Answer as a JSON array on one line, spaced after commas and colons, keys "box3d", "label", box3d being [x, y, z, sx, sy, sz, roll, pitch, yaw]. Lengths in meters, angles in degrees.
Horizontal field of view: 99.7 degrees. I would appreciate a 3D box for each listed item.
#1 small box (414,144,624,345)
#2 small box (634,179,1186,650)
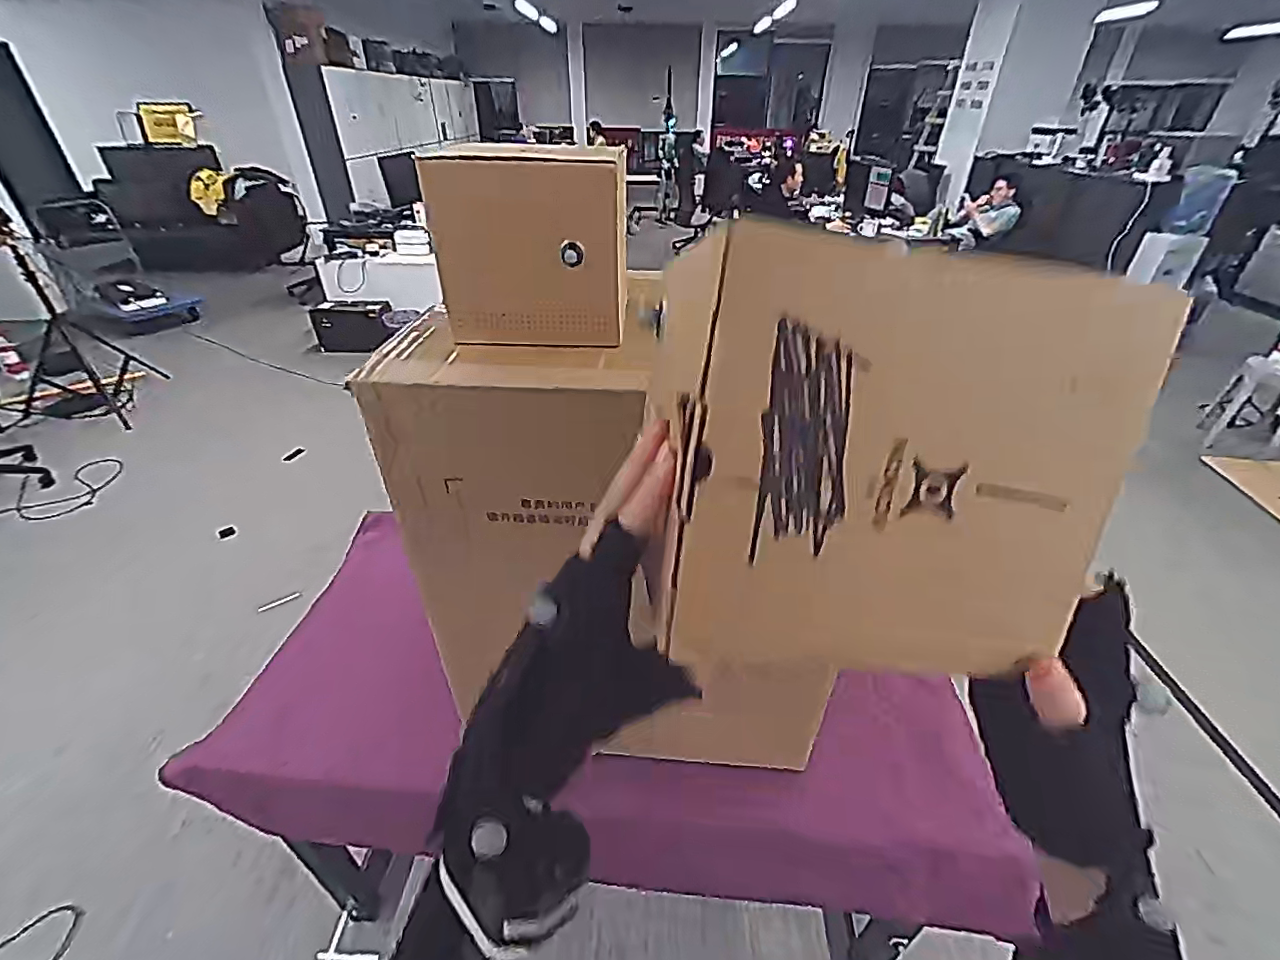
[{"box3d": [-0.107, -0.248, 0.570, 0.179, 0.176, 0.168, 0, 34, 1], "label": "small box"}, {"box3d": [0.095, -0.034, 0.281, 0.179, 0.168, 0.176, 5, 16, -8], "label": "small box"}]
